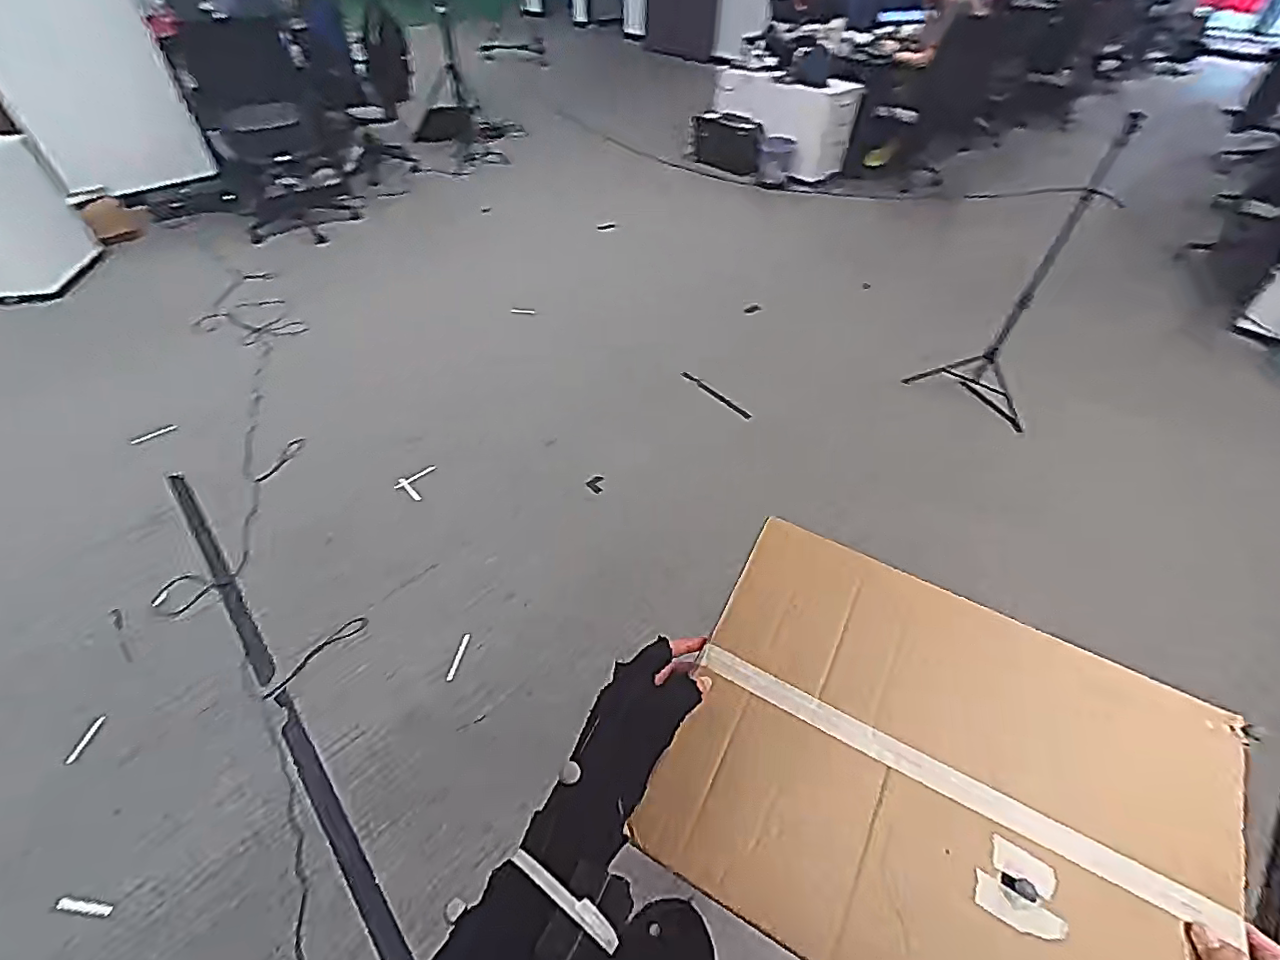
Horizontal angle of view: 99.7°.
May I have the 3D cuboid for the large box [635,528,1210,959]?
[{"bbox_3d":[0.242,0.313,0.577,0.408,0.320,0.320,24,65,16],"label":"large box"}]
